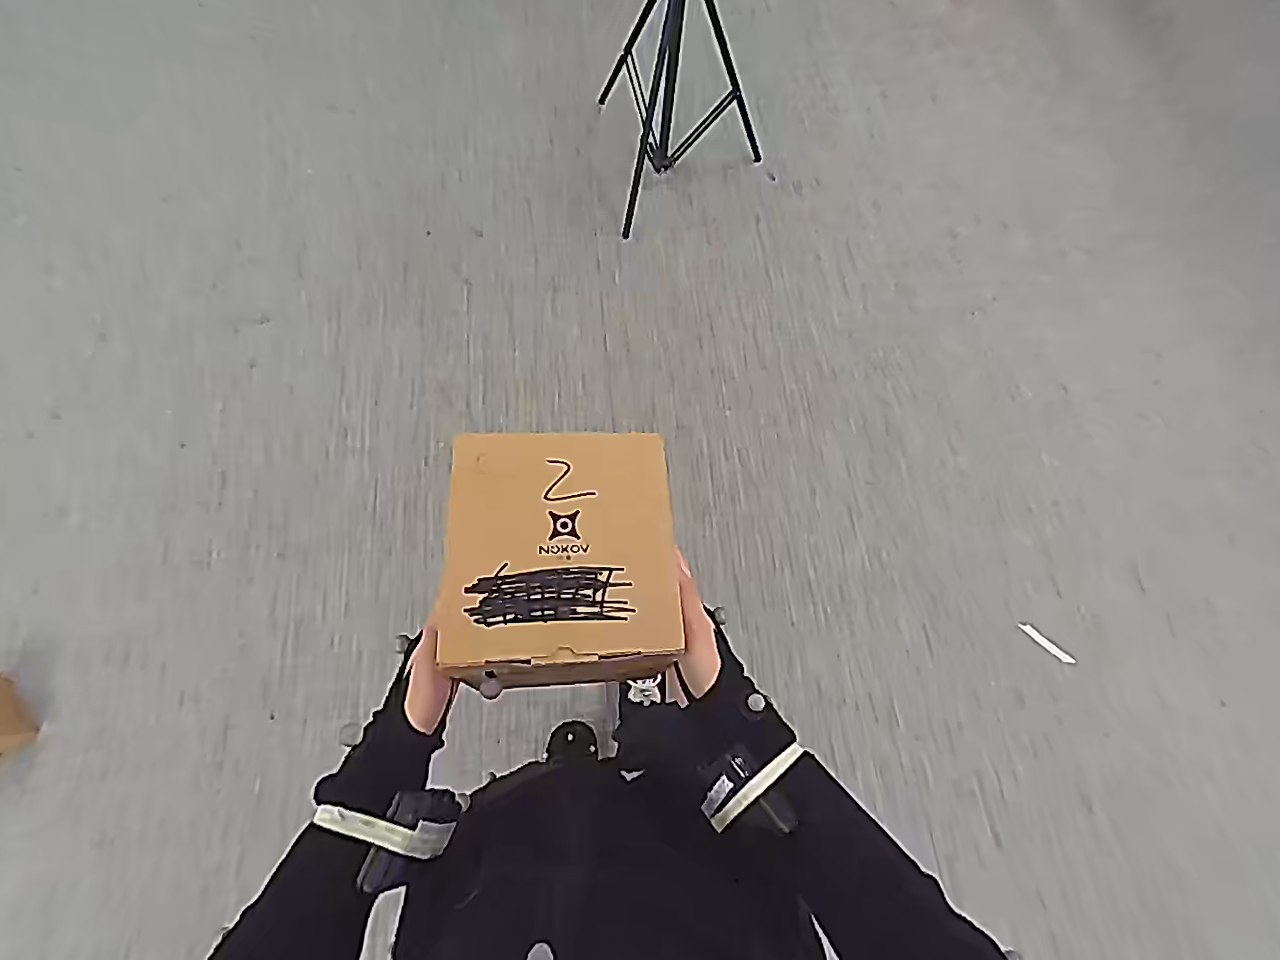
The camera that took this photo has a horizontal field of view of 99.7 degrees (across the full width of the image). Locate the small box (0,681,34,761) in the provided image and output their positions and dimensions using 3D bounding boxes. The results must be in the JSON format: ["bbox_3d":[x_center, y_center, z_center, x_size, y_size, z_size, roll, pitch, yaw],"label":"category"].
[{"bbox_3d":[-1.462,0.539,1.136,0.168,0.176,0.179,-41,77,-16],"label":"small box"}]
